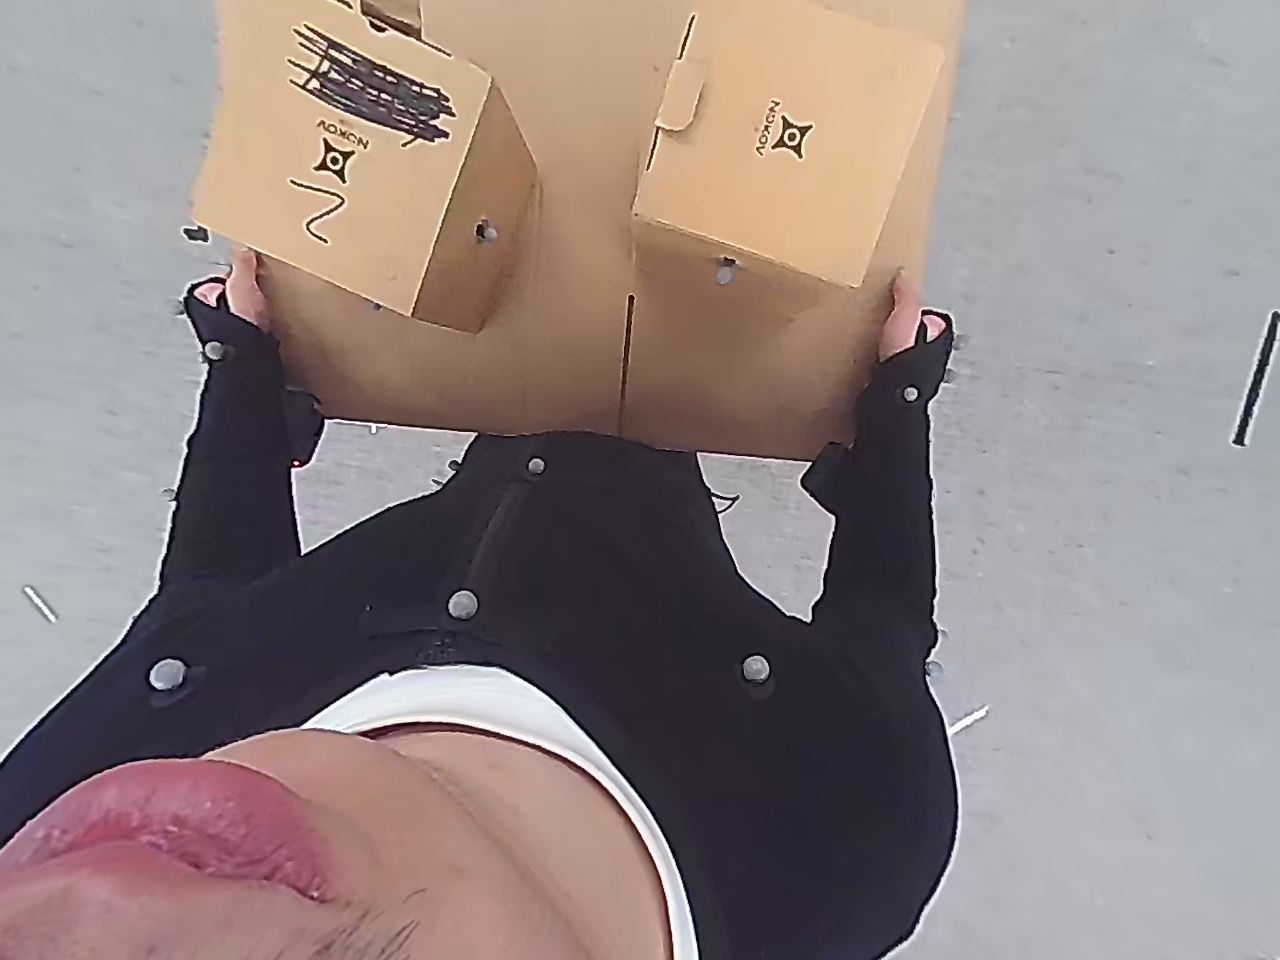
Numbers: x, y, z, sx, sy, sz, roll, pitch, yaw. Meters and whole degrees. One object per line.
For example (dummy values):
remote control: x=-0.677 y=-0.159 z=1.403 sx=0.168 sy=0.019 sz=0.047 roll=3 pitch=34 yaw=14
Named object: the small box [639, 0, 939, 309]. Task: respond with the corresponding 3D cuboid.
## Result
small box: x=0.108 y=-0.258 z=0.470 sx=0.179 sy=0.176 sz=0.168 roll=18 pitch=100 yaw=-1
